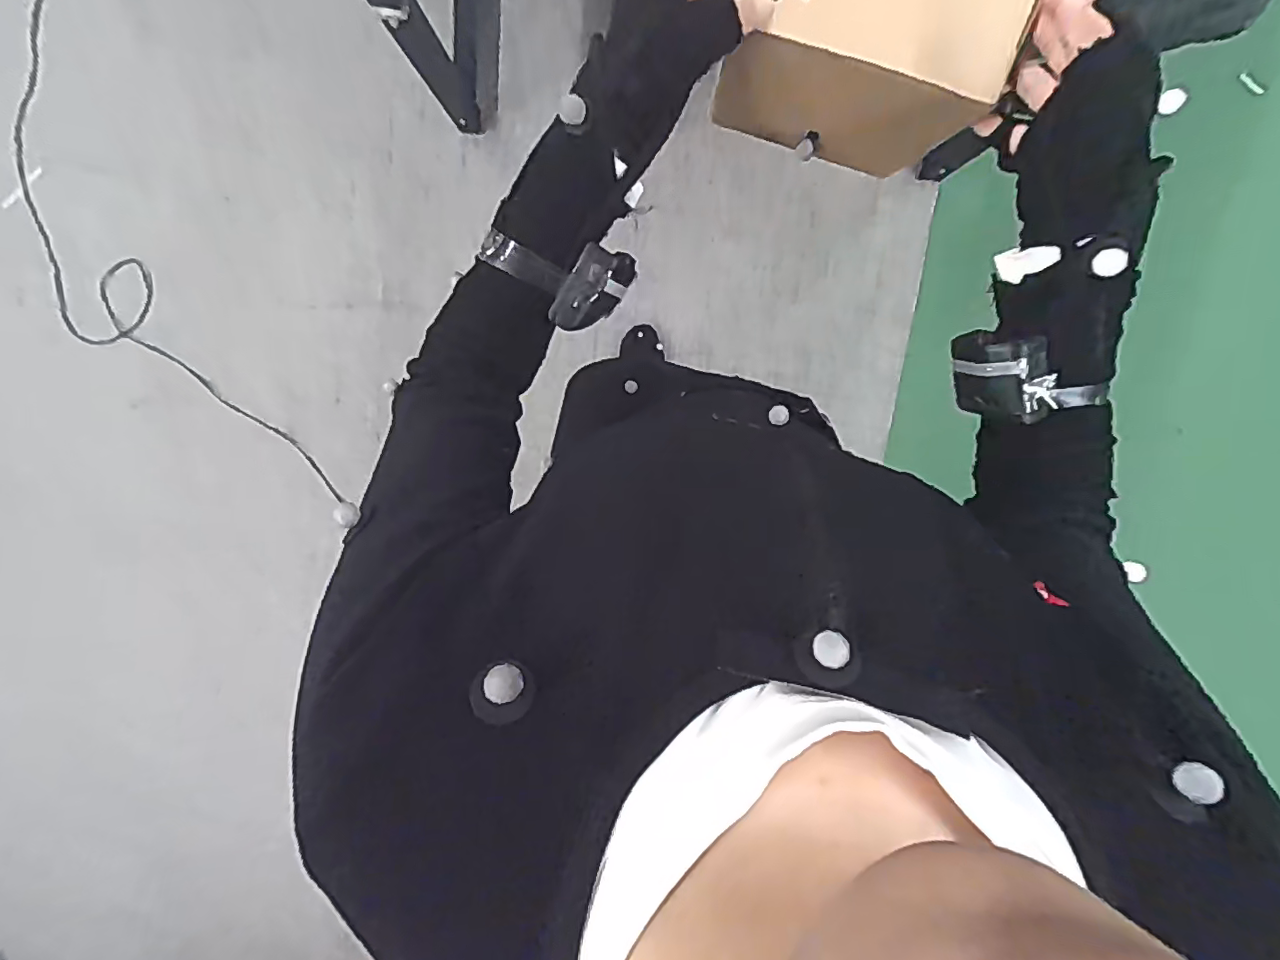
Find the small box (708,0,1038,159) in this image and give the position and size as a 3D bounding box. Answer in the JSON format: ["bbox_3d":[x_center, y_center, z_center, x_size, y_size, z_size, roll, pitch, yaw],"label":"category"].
[{"bbox_3d":[0.162,-0.358,0.385,0.179,0.176,0.168,16,104,-4],"label":"small box"}]
